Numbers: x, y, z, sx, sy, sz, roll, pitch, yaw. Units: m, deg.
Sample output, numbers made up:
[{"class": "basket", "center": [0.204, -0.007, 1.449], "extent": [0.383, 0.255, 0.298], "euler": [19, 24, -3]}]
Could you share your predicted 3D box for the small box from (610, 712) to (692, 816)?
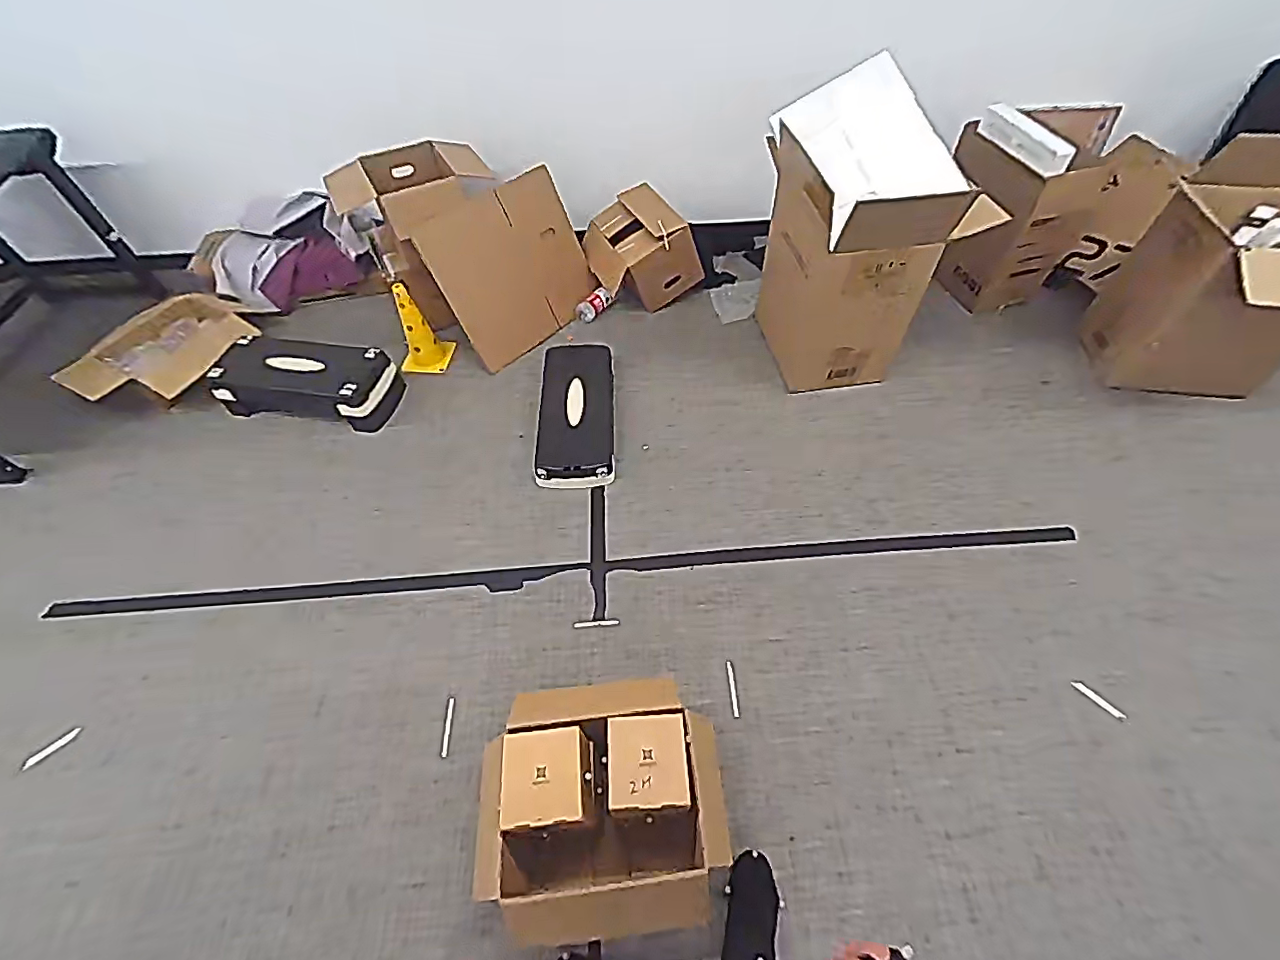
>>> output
[{"class": "small box", "center": [0.020, 0.621, 1.181], "extent": [0.168, 0.176, 0.179], "euler": [-3, 54, 0]}]
